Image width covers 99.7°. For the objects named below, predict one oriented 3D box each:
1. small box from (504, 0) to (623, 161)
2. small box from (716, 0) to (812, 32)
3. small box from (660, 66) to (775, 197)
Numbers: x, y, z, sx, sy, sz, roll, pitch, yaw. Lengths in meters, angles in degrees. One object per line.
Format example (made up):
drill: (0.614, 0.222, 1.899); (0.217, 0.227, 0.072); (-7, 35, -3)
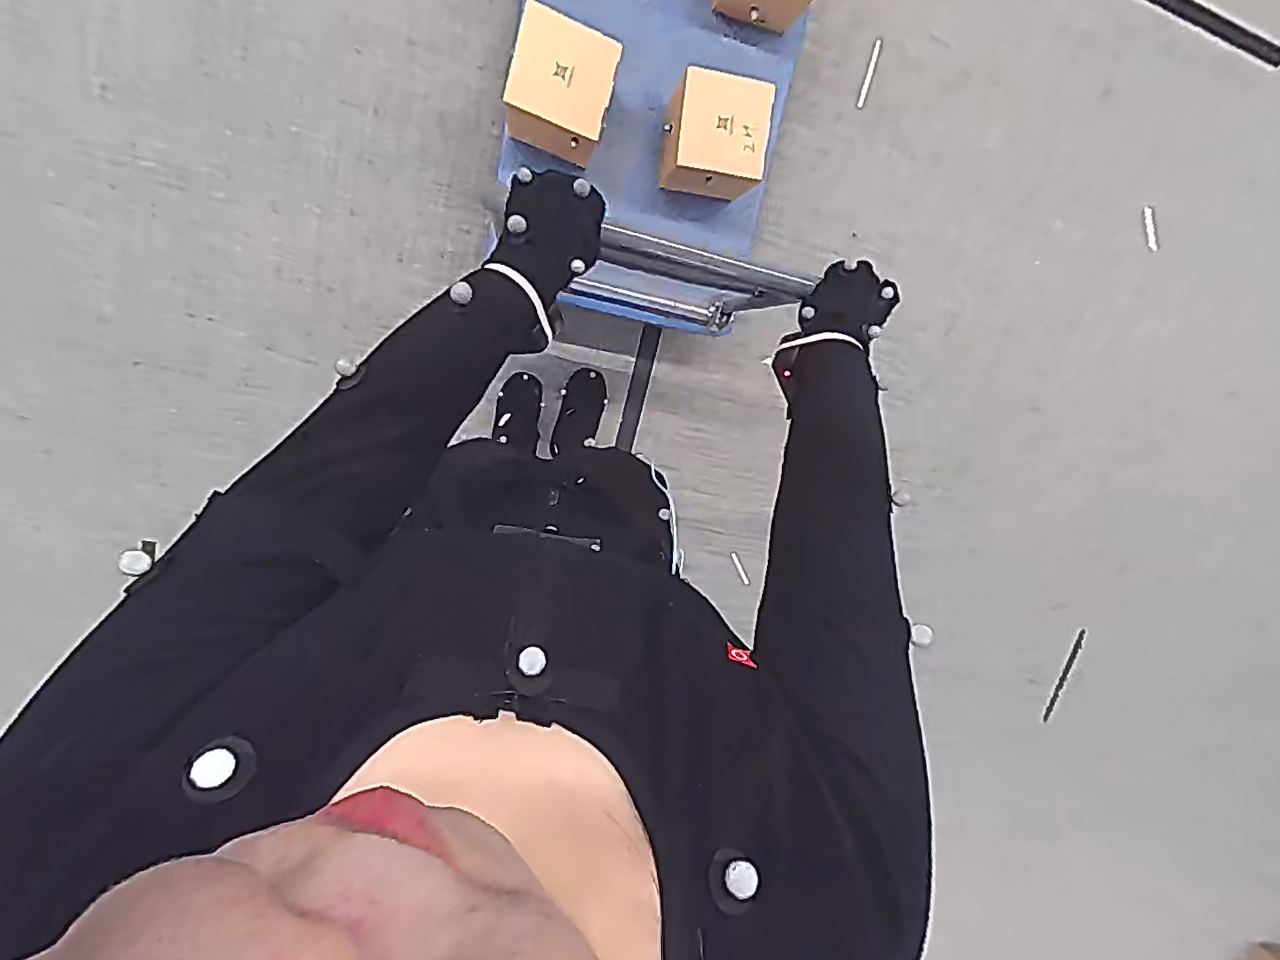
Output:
small box: (-0.150, -0.738, 1.024); (0.179, 0.176, 0.168); (15, 101, -16)
small box: (0.256, -1.010, 1.024); (0.168, 0.176, 0.179); (8, 105, -12)
small box: (0.146, -0.690, 1.093); (0.179, 0.176, 0.168); (4, 105, -12)
